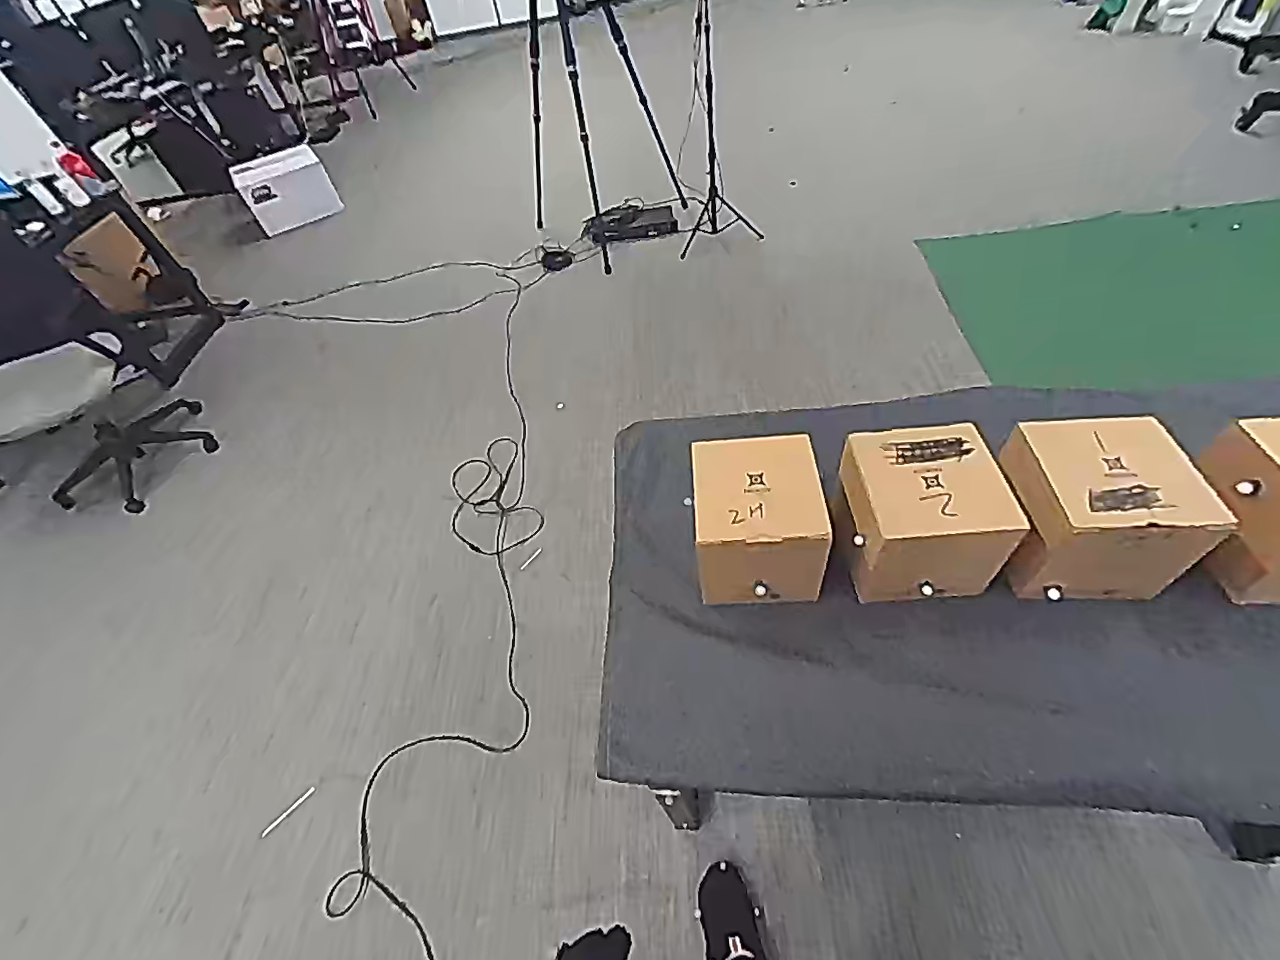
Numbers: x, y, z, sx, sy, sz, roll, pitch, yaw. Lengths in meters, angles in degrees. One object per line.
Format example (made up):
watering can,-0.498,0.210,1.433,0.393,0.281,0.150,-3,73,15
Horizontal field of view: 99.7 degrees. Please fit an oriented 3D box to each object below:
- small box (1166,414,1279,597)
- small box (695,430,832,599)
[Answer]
small box,0.828,0.035,0.666,0.168,0.176,0.179,-3,50,8
small box,0.164,0.052,0.771,0.168,0.176,0.179,-4,50,7
